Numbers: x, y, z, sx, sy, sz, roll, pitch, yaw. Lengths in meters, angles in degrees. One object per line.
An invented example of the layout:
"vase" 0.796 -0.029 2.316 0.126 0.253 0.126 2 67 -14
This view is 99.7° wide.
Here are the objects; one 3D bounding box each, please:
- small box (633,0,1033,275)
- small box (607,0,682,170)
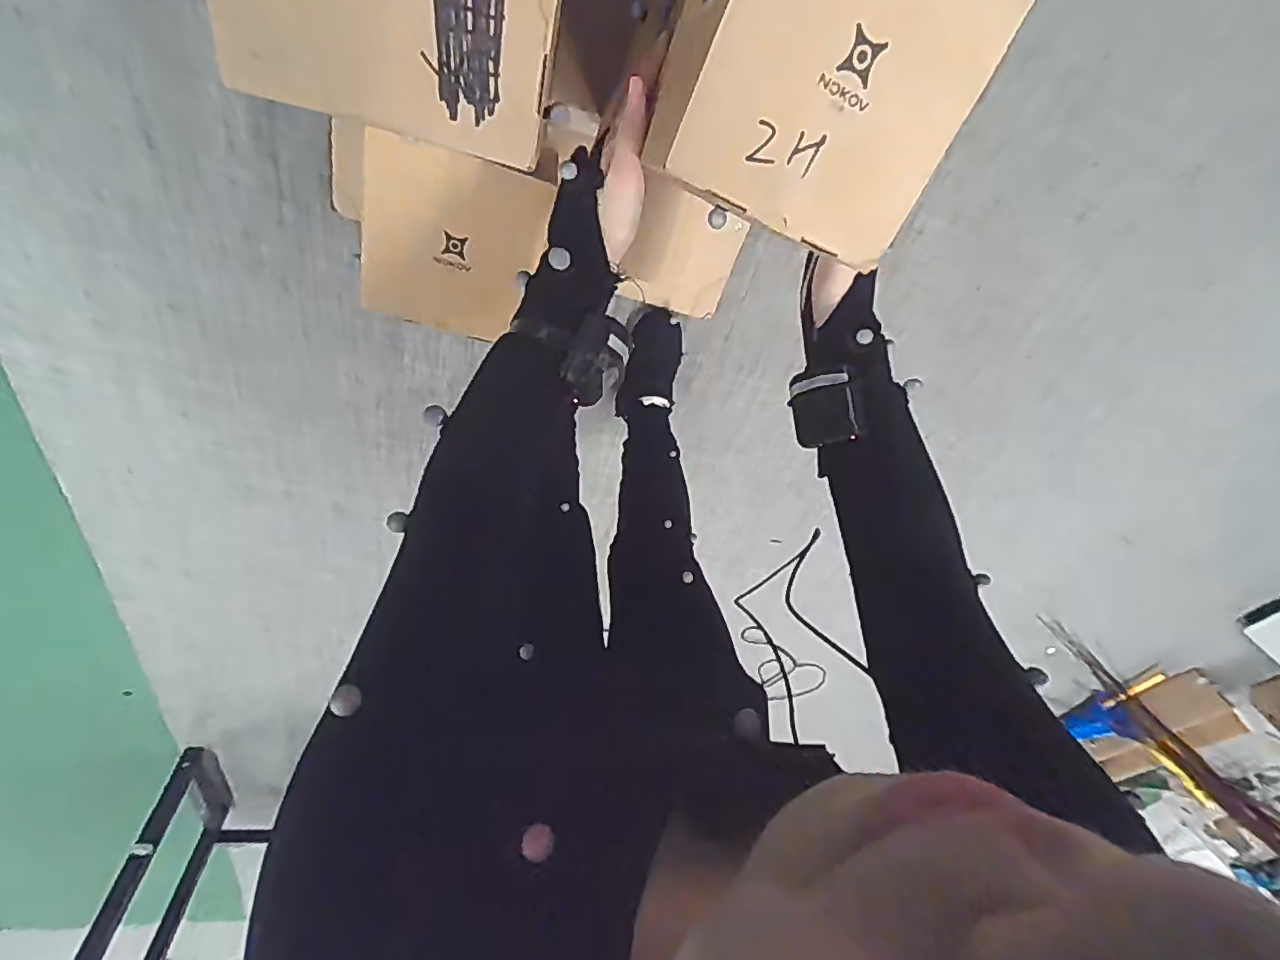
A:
"small box" 0.107 -0.274 0.378 0.168 0.176 0.179 16 117 -20
"small box" 0.076 -0.378 0.525 0.179 0.176 0.168 16 125 -16
